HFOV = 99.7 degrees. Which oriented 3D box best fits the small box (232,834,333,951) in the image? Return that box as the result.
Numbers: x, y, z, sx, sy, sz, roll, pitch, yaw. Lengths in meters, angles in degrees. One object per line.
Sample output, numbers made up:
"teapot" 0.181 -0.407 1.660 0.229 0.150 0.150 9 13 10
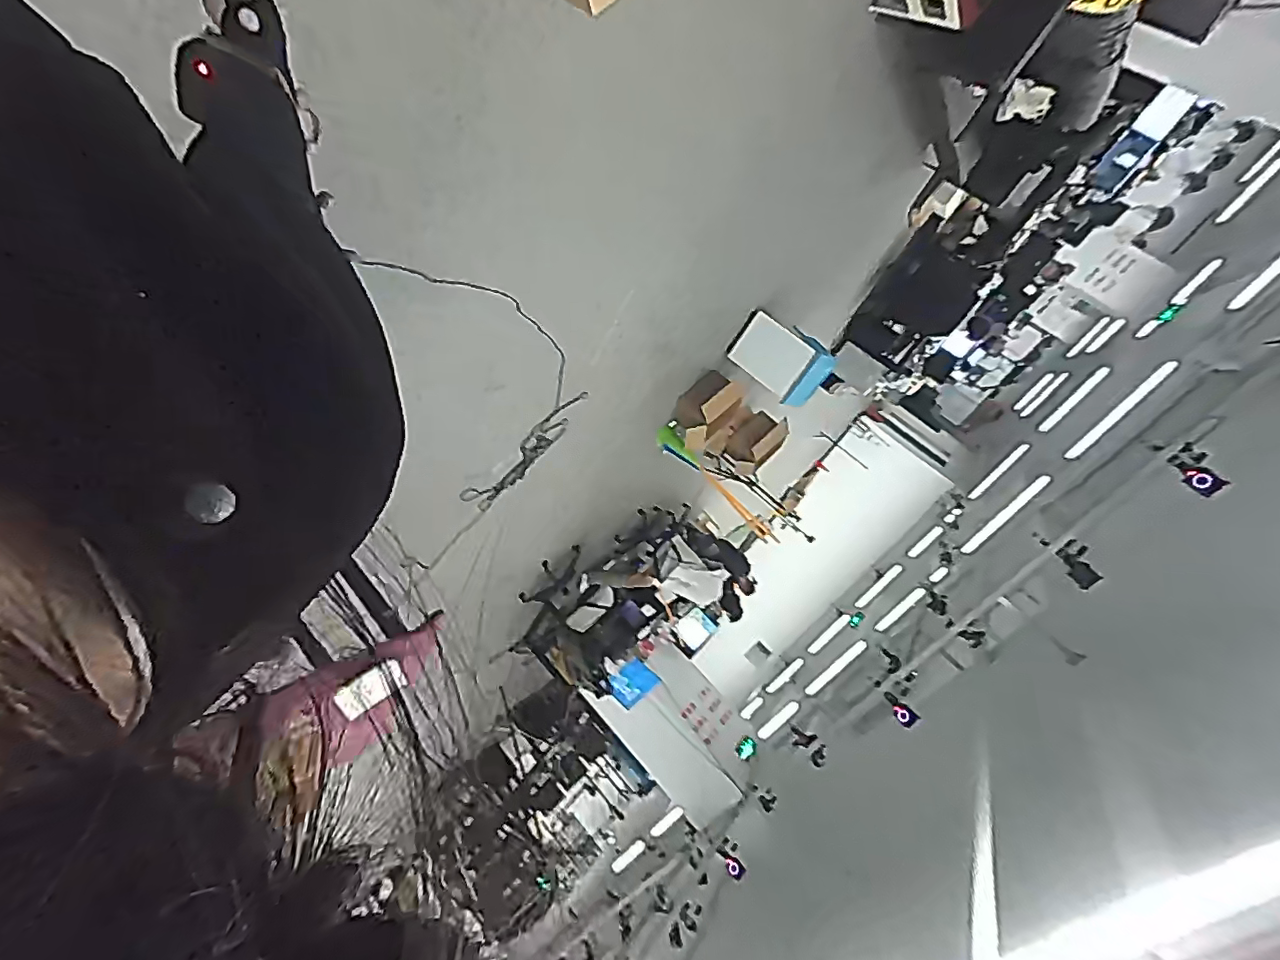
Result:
"small box" -1.005 1.142 1.515 0.179 0.176 0.168 -57 159 22
